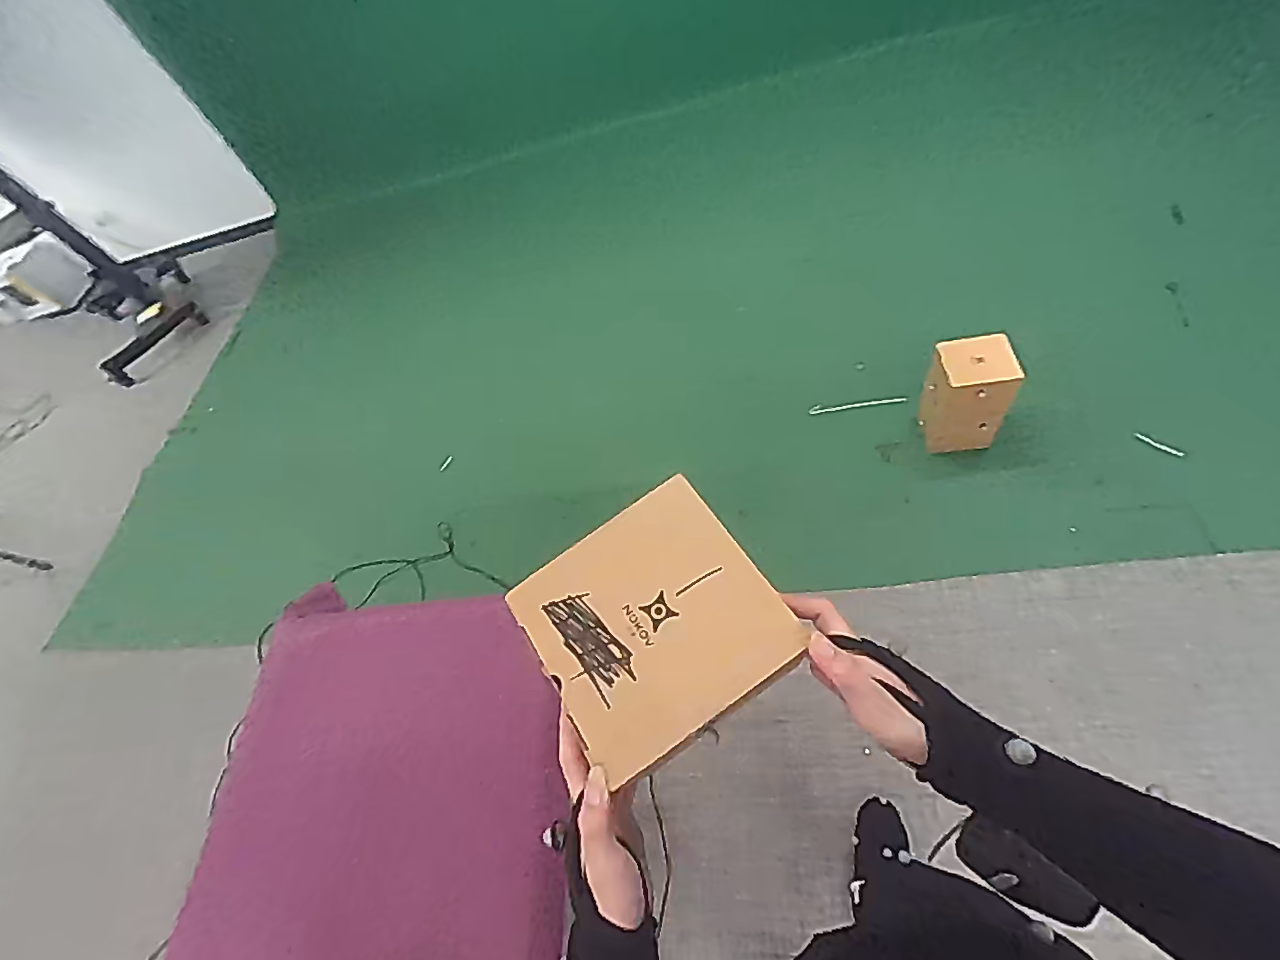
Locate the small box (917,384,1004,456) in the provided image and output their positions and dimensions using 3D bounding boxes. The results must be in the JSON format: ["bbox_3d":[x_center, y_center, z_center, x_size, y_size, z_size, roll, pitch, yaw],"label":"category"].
[{"bbox_3d":[0.982,-0.191,1.674,0.179,0.176,0.168,-6,57,13],"label":"small box"}]

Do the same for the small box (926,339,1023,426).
[{"bbox_3d":[0.942,-0.273,1.540,0.179,0.176,0.168,-7,57,13],"label":"small box"}]

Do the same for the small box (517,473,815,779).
[{"bbox_3d":[0.028,0.131,0.476,0.179,0.176,0.168,-34,64,-5],"label":"small box"}]
